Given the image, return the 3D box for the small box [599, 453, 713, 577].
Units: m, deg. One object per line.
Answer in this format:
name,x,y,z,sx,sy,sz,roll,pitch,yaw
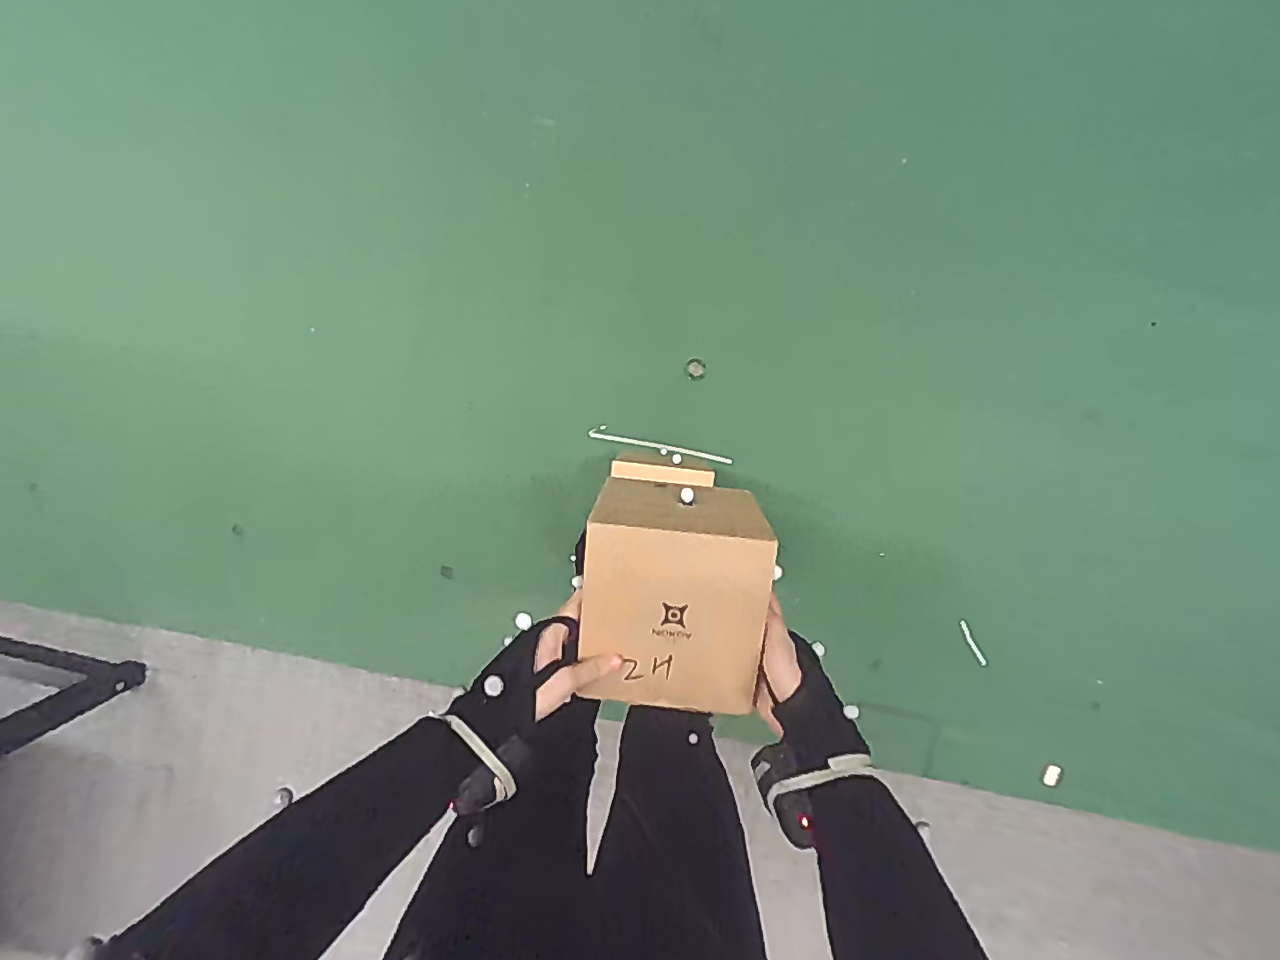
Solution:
small box,0.027,0.051,0.941,0.168,0.176,0.179,7,98,1
